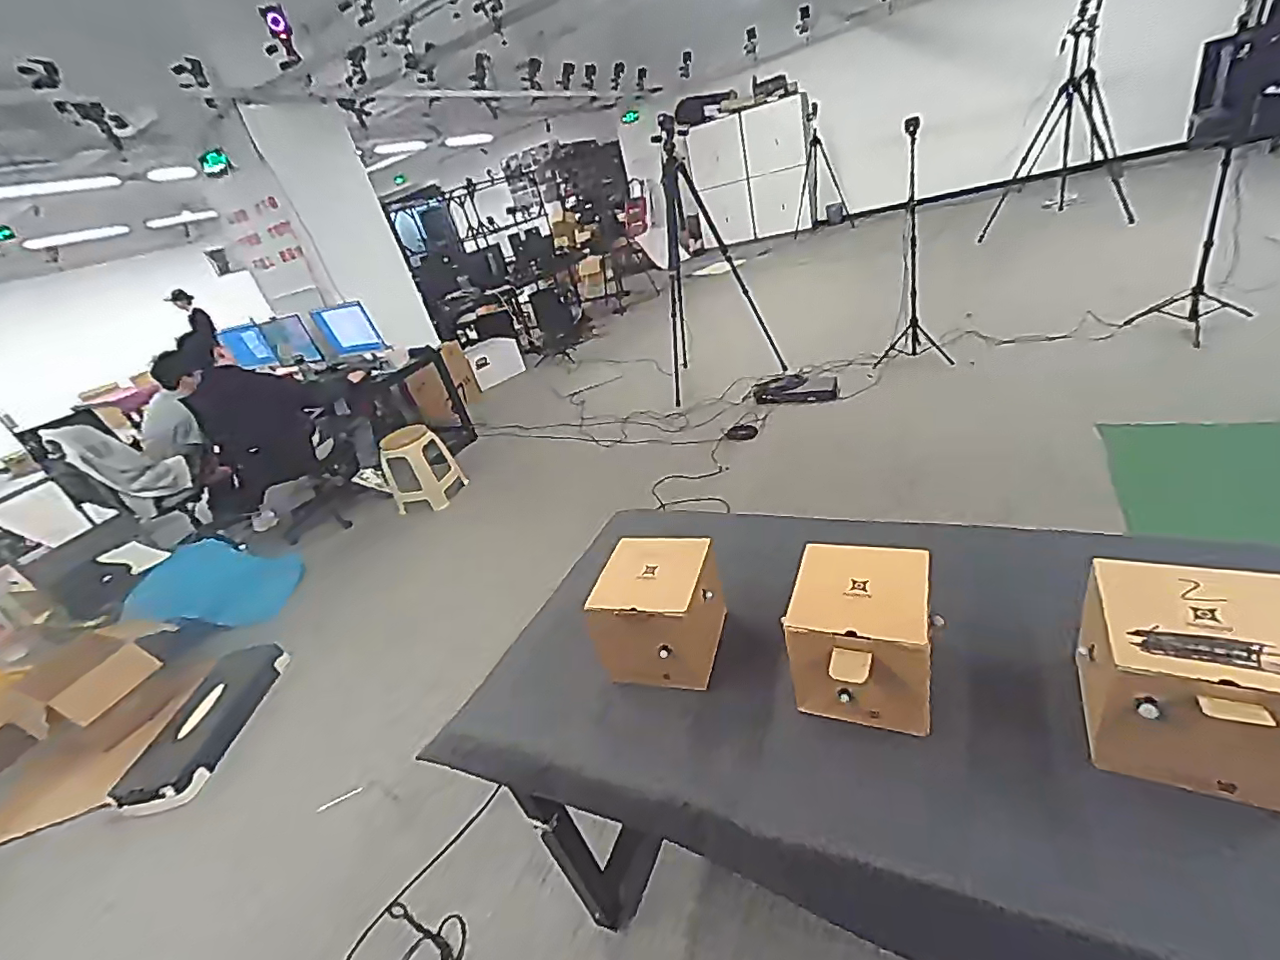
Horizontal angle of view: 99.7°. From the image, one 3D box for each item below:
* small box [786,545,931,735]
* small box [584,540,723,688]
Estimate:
[{"bbox_3d":[0.310,0.214,0.755,0.168,0.176,0.179,1,33,28],"label":"small box"},{"bbox_3d":[0.034,0.217,0.893,0.168,0.176,0.179,-2,30,22],"label":"small box"}]
